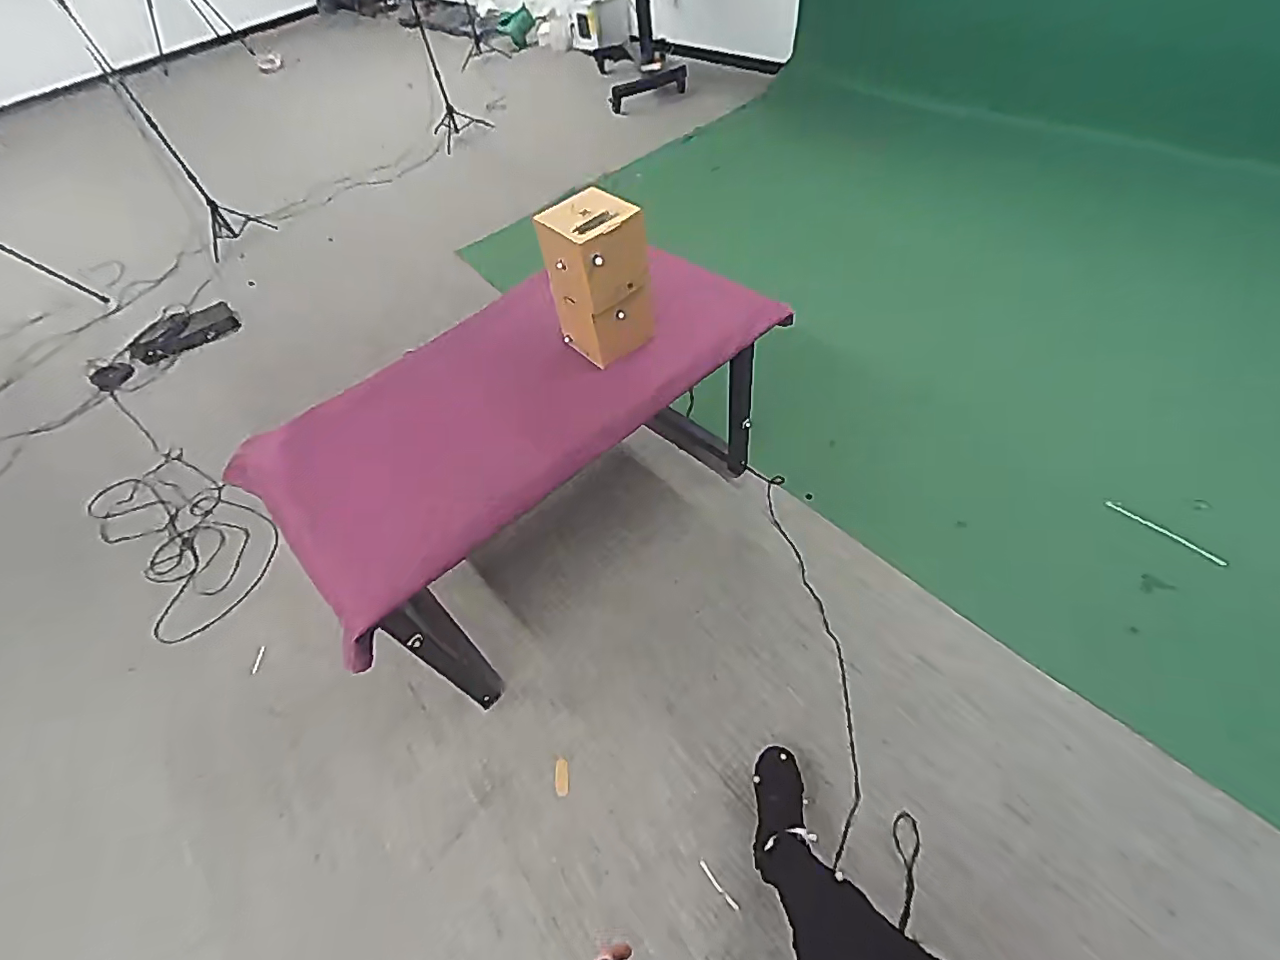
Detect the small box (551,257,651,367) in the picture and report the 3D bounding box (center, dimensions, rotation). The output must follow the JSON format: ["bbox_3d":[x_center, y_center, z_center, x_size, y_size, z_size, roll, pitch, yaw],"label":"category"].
[{"bbox_3d":[-0.087,-0.407,1.323,0.179,0.176,0.168,-37,57,-19],"label":"small box"}]
